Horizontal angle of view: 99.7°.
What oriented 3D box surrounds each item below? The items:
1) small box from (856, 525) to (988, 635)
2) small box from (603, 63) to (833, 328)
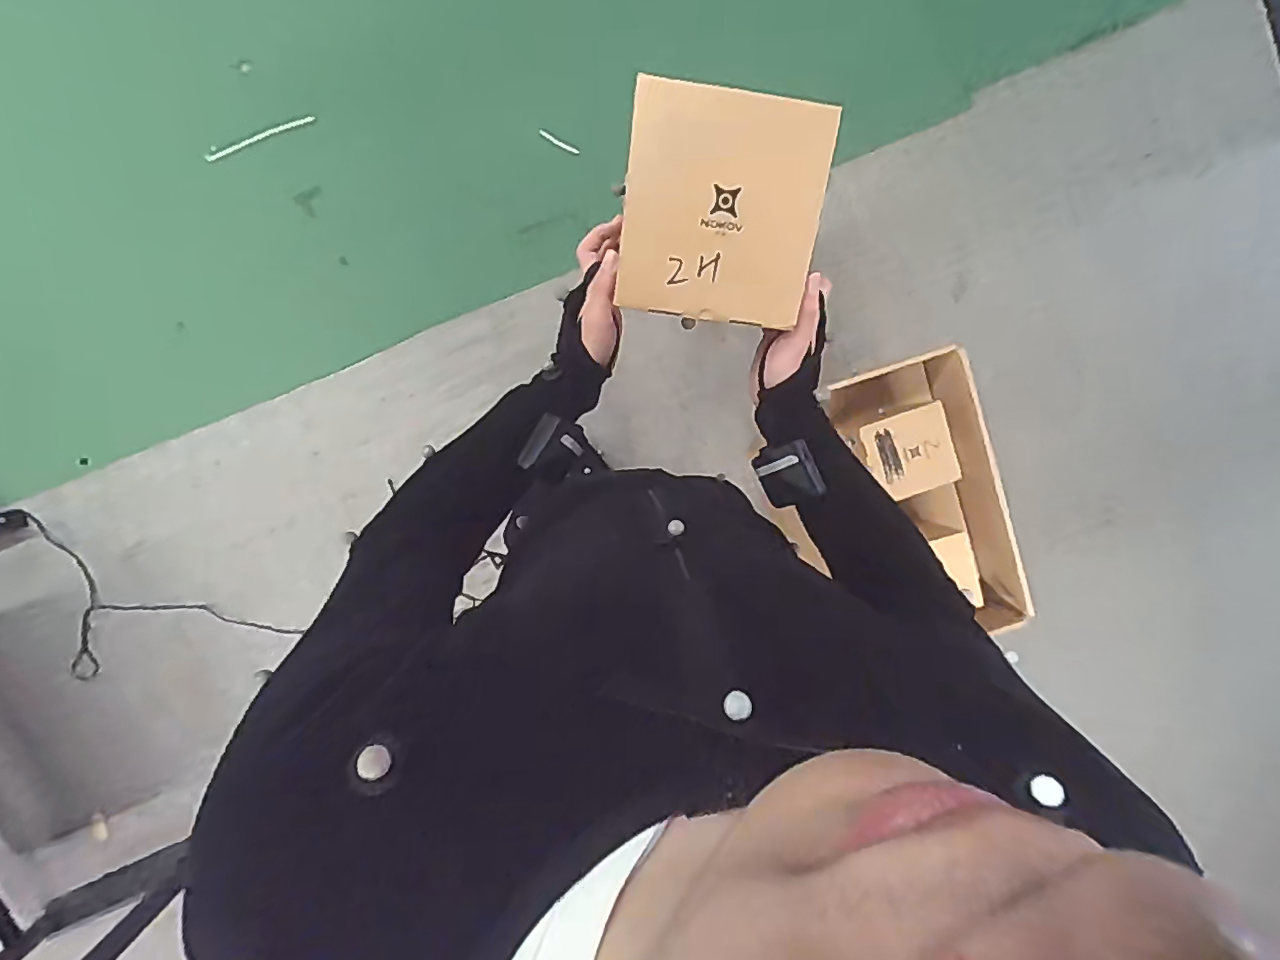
[{"bbox_3d":[0.595,0.204,1.157,0.179,0.176,0.168,-17,95,0],"label":"small box"},{"bbox_3d":[0.057,-0.250,0.513,0.168,0.176,0.179,7,110,-4],"label":"small box"}]
